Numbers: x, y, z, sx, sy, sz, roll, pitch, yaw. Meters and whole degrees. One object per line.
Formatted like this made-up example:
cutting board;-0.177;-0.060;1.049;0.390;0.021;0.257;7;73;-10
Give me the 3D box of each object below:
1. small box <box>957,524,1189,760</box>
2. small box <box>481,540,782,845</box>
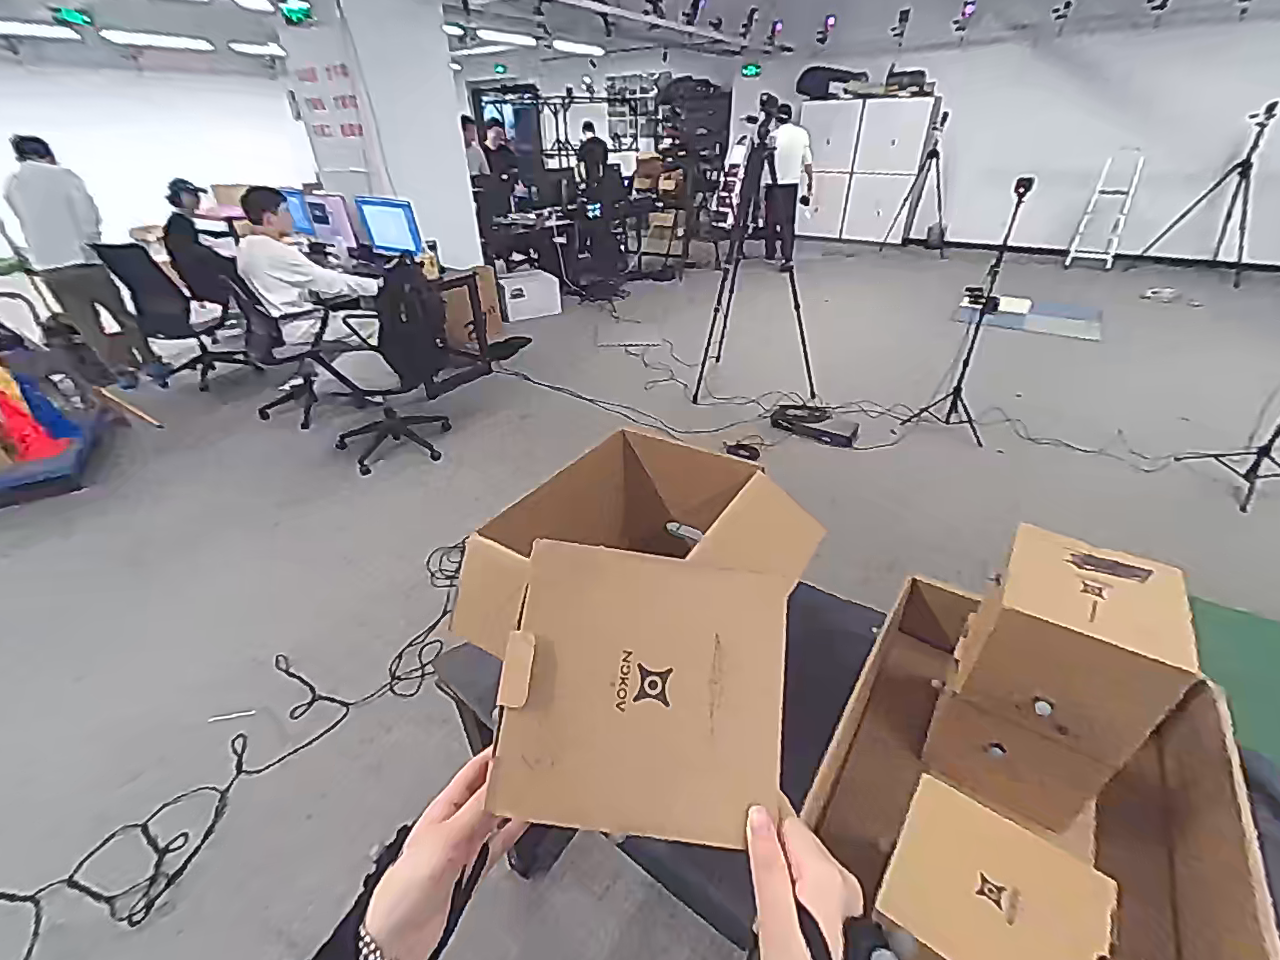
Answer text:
small box;0.509;0.189;0.656;0.168;0.176;0.179;20;40;29
small box;-0.005;0.152;0.420;0.179;0.176;0.168;8;73;-3
